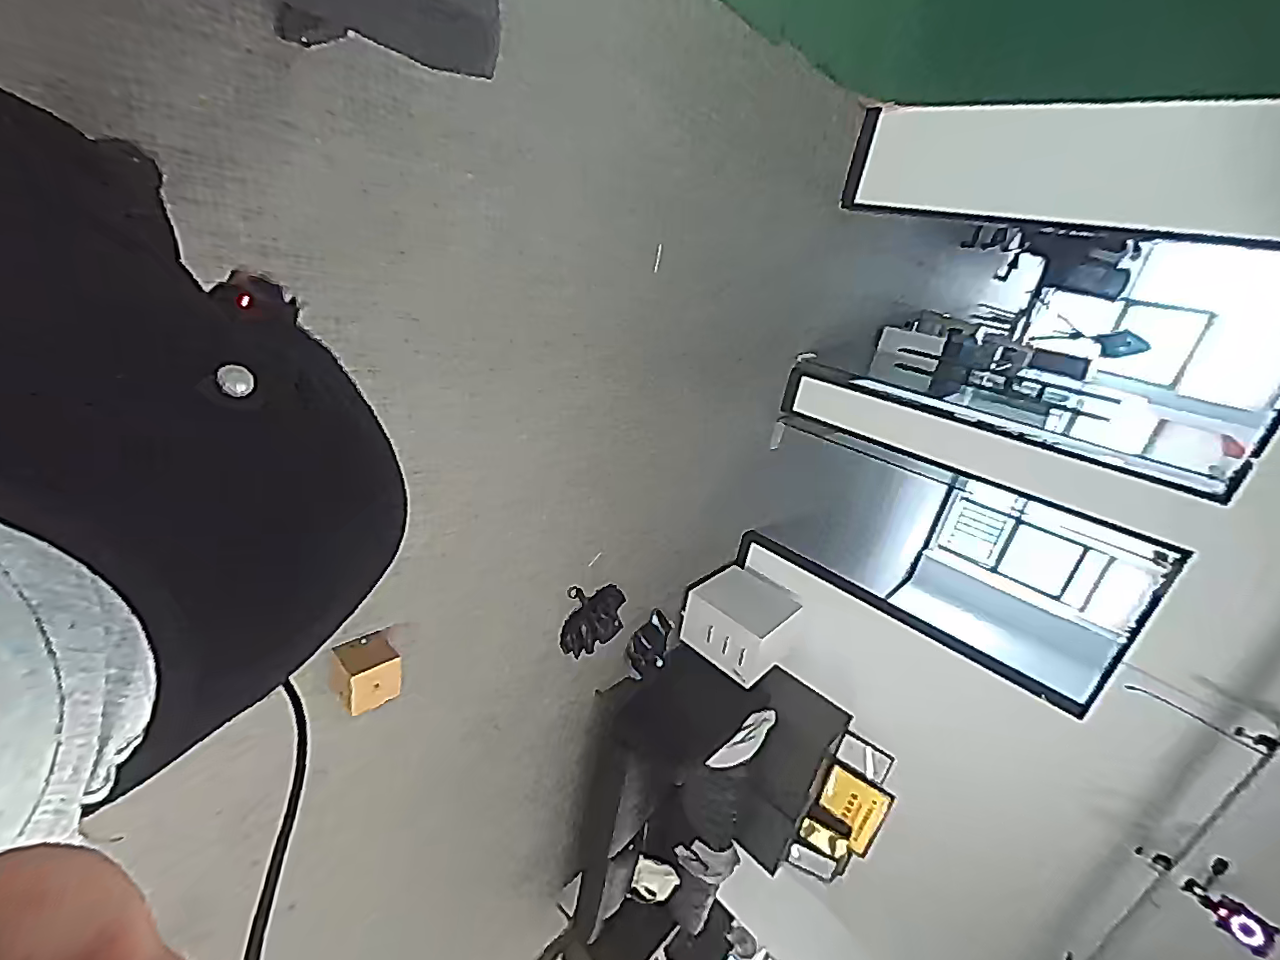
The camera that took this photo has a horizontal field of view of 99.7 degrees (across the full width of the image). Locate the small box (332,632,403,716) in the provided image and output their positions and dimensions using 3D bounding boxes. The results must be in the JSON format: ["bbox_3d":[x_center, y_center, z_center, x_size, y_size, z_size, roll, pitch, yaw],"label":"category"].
[{"bbox_3d":[-0.934,0.657,1.853,0.168,0.176,0.179,-17,124,-47],"label":"small box"}]
